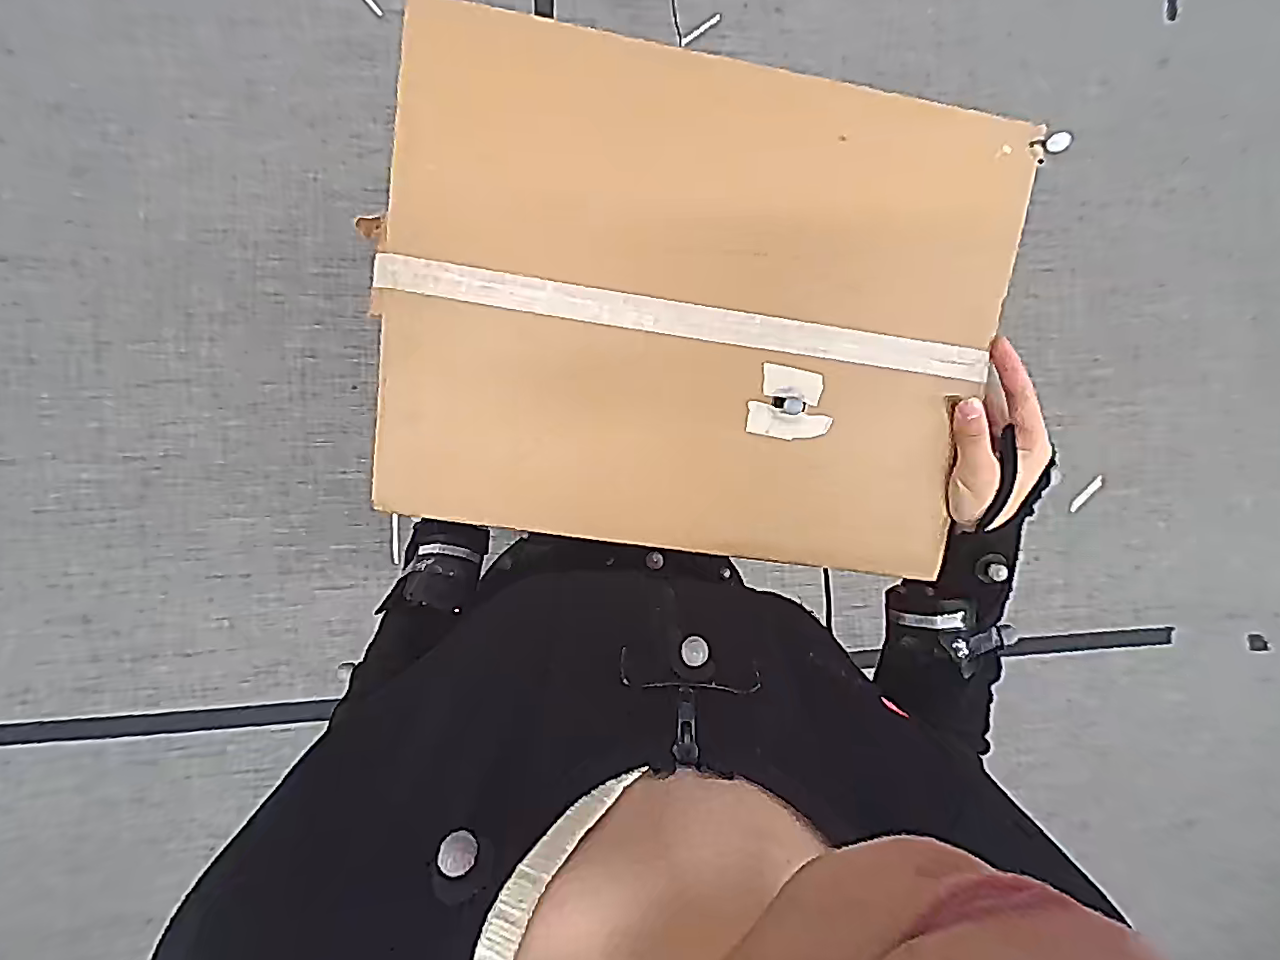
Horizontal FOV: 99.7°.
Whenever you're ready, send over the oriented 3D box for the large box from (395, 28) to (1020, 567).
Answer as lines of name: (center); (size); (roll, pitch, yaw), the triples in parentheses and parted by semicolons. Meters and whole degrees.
large box: (0.030, -0.127, 0.513); (0.408, 0.320, 0.320); (7, 100, -6)
